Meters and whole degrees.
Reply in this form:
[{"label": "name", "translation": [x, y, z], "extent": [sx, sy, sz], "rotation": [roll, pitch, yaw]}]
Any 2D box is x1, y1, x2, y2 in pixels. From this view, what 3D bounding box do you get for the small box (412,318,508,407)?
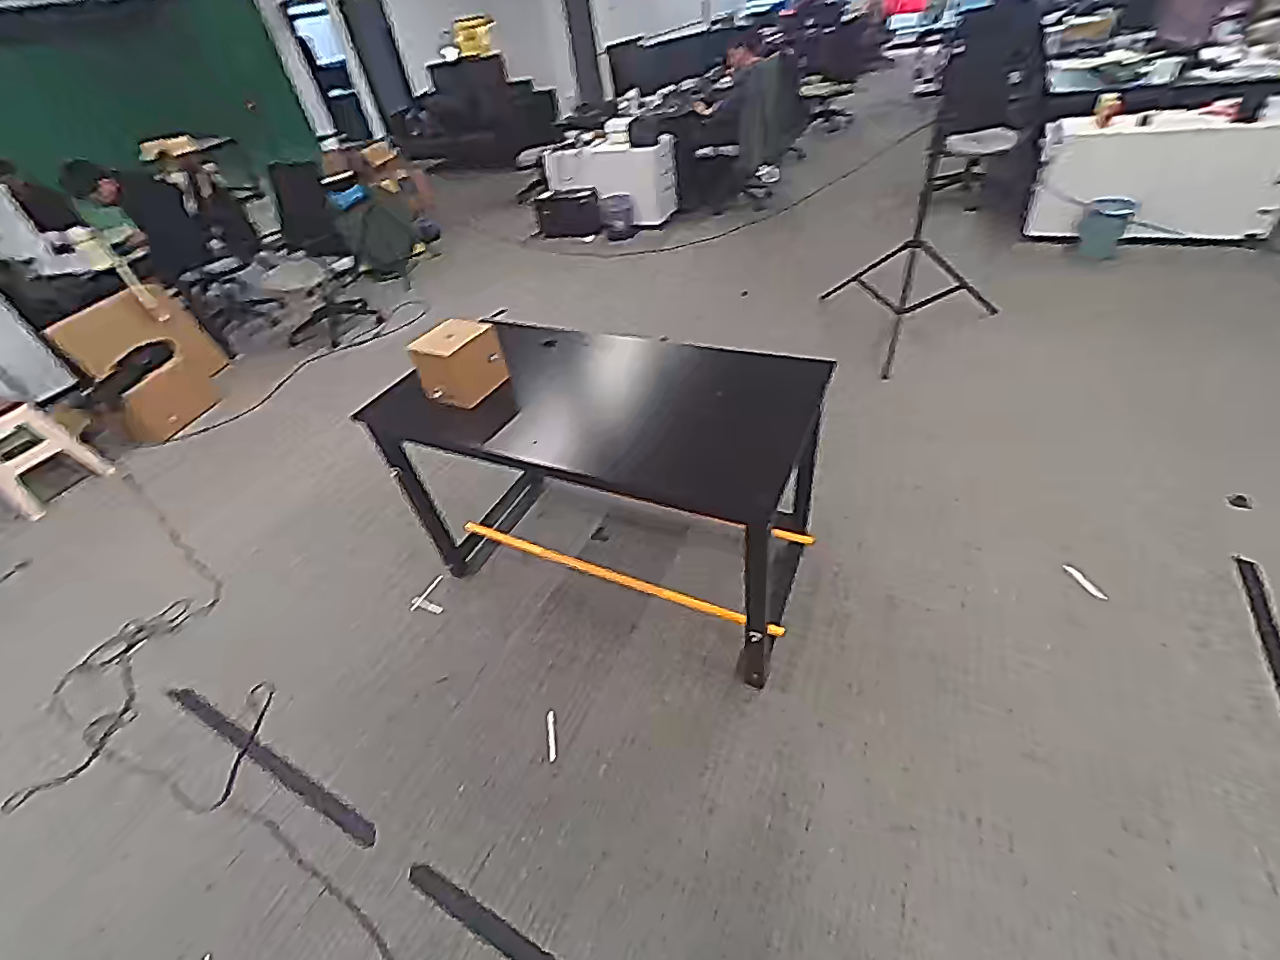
[{"label": "small box", "translation": [-0.490, -0.329, 1.508], "extent": [0.168, 0.176, 0.179], "rotation": [15, 48, 26]}]
